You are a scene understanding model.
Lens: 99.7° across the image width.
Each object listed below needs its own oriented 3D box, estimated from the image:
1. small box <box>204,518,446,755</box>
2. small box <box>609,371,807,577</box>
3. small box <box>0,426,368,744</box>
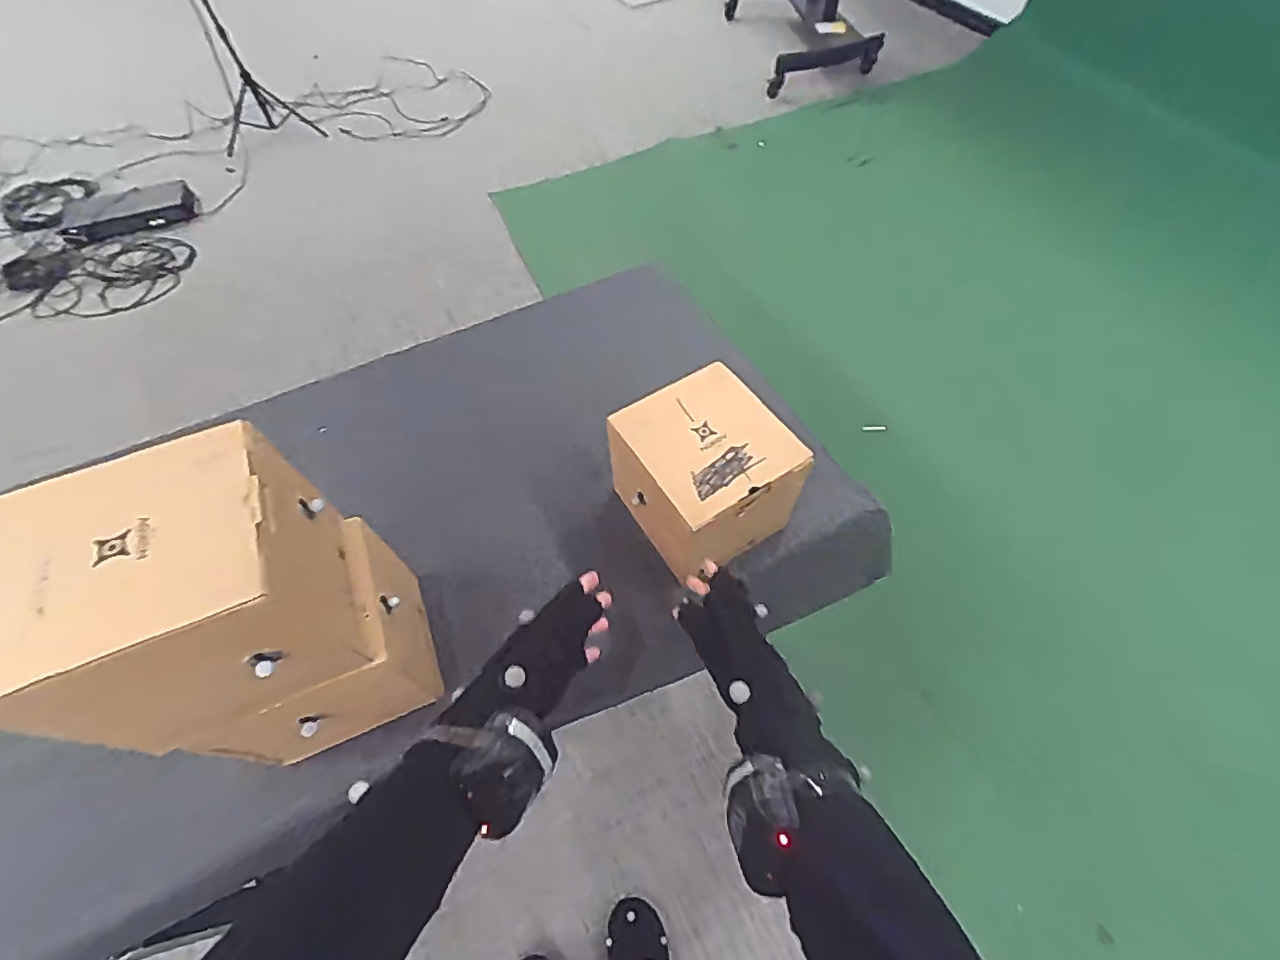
[{"bbox_3d":[-0.335,0.175,0.585,0.179,0.176,0.168,-21,59,-12],"label":"small box"},{"bbox_3d":[0.077,0.002,0.687,0.168,0.176,0.179,-28,61,-15],"label":"small box"},{"bbox_3d":[-0.348,0.091,0.446,0.179,0.176,0.168,-23,58,-13],"label":"small box"}]
